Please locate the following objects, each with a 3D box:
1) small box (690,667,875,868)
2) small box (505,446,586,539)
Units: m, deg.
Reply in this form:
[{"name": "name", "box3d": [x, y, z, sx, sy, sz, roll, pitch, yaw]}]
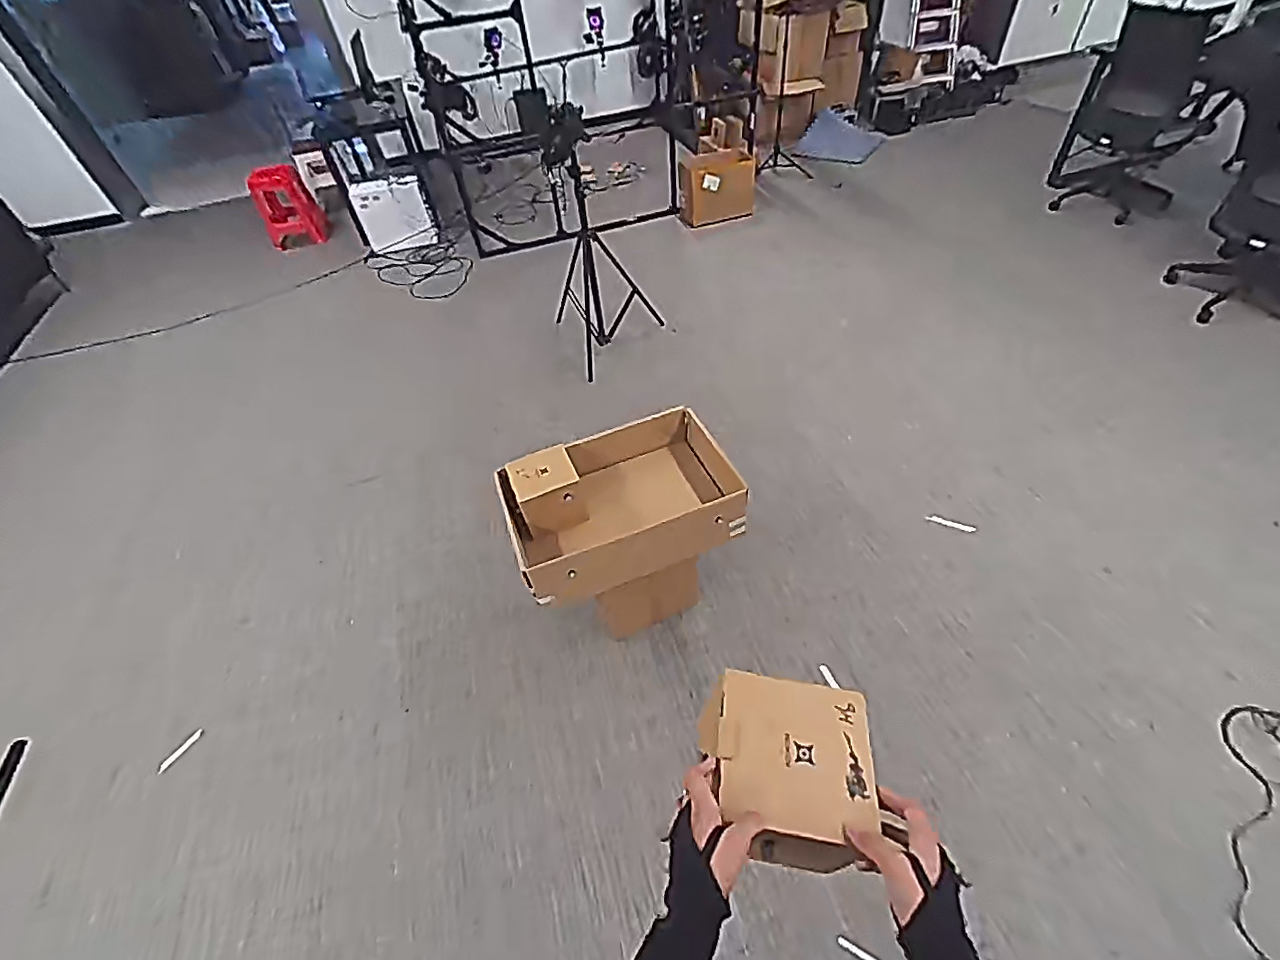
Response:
[{"name": "small box", "box3d": [0.161, 0.356, 0.664, 0.179, 0.176, 0.168, 9, 48, 3]}, {"name": "small box", "box3d": [-0.263, 0.037, 1.534, 0.179, 0.176, 0.168, -22, 48, -11]}]
